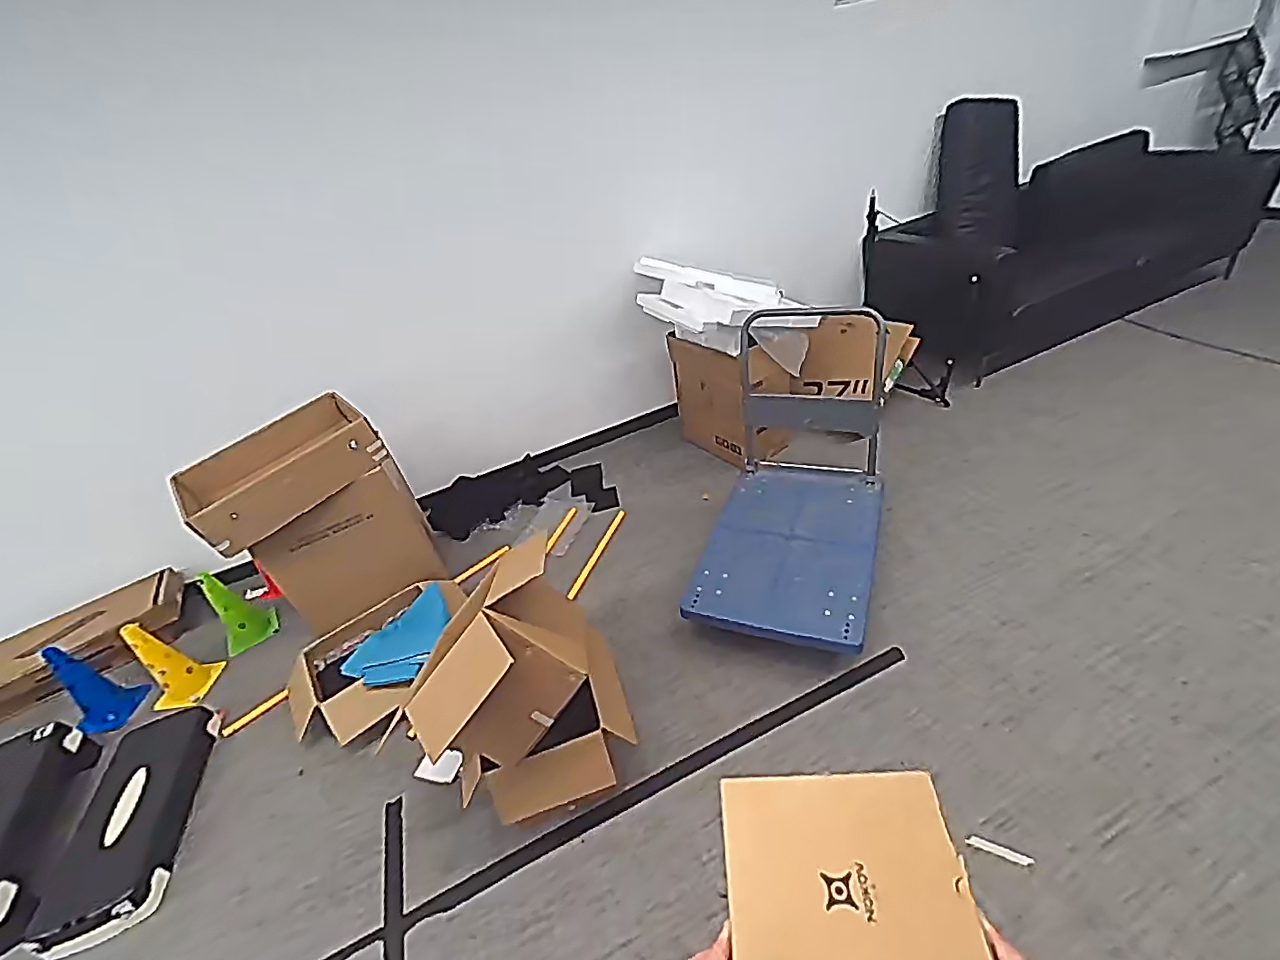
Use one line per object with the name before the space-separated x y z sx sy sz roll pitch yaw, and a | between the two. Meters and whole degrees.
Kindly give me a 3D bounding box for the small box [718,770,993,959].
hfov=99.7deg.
small box | 0.165 0.362 0.444 0.179 0.176 0.168 -7 37 9
